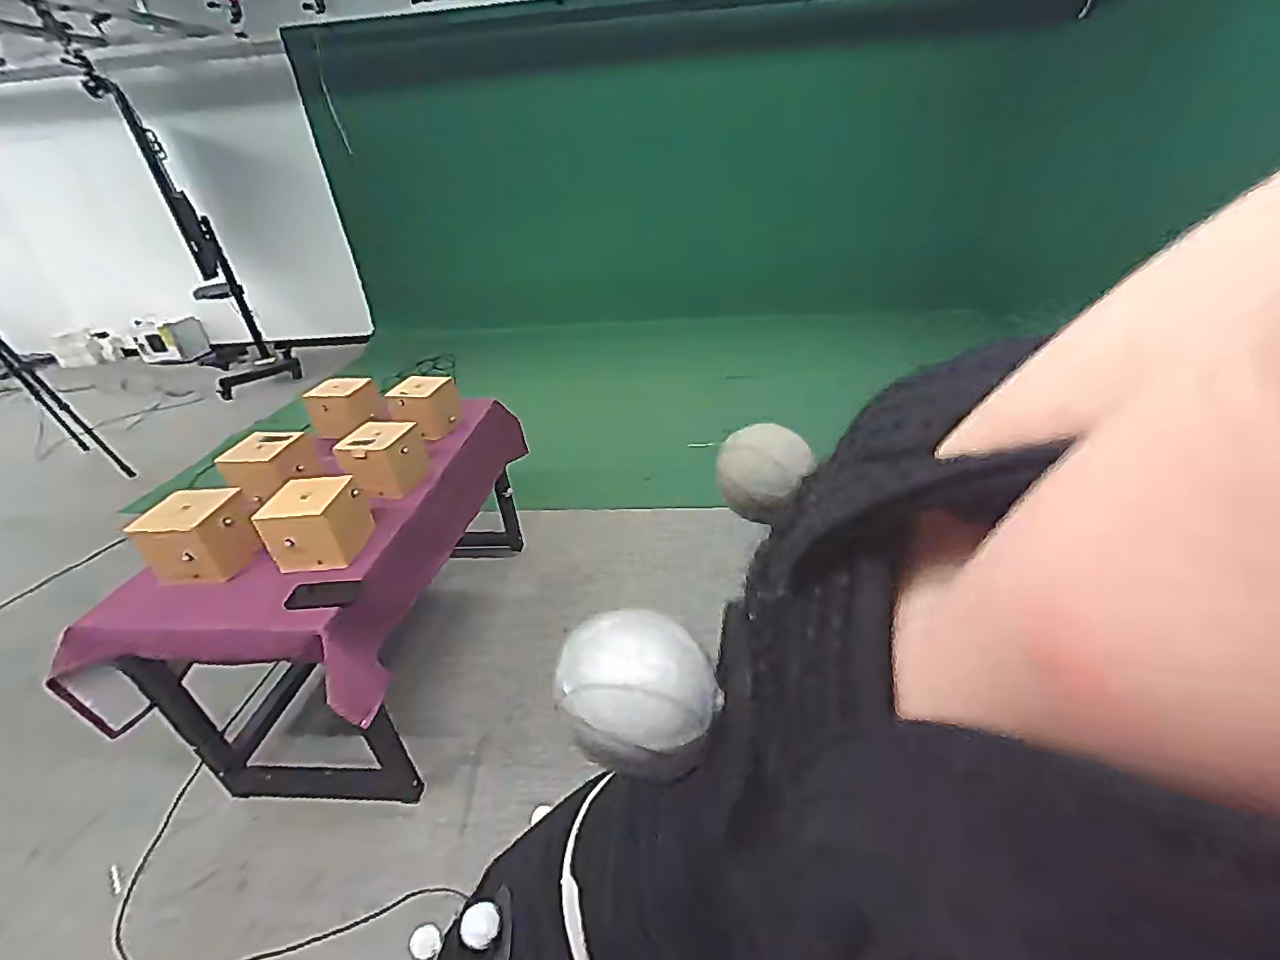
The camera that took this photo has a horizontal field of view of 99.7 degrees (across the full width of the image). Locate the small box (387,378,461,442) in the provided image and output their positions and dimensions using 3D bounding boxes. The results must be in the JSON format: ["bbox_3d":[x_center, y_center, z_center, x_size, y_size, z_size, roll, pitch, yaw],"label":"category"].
[{"bbox_3d":[-0.756,-0.250,1.916,0.168,0.176,0.179,2,32,12],"label":"small box"}]

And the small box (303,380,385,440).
[{"bbox_3d":[-1.067,-0.253,1.962,0.179,0.176,0.168,1,33,9],"label":"small box"}]

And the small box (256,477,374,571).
[{"bbox_3d":[-0.790,0.112,1.339,0.168,0.176,0.179,-5,30,1],"label":"small box"}]

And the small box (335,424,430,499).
[{"bbox_3d":[-0.751,-0.055,1.601,0.168,0.176,0.179,2,32,11],"label":"small box"}]
